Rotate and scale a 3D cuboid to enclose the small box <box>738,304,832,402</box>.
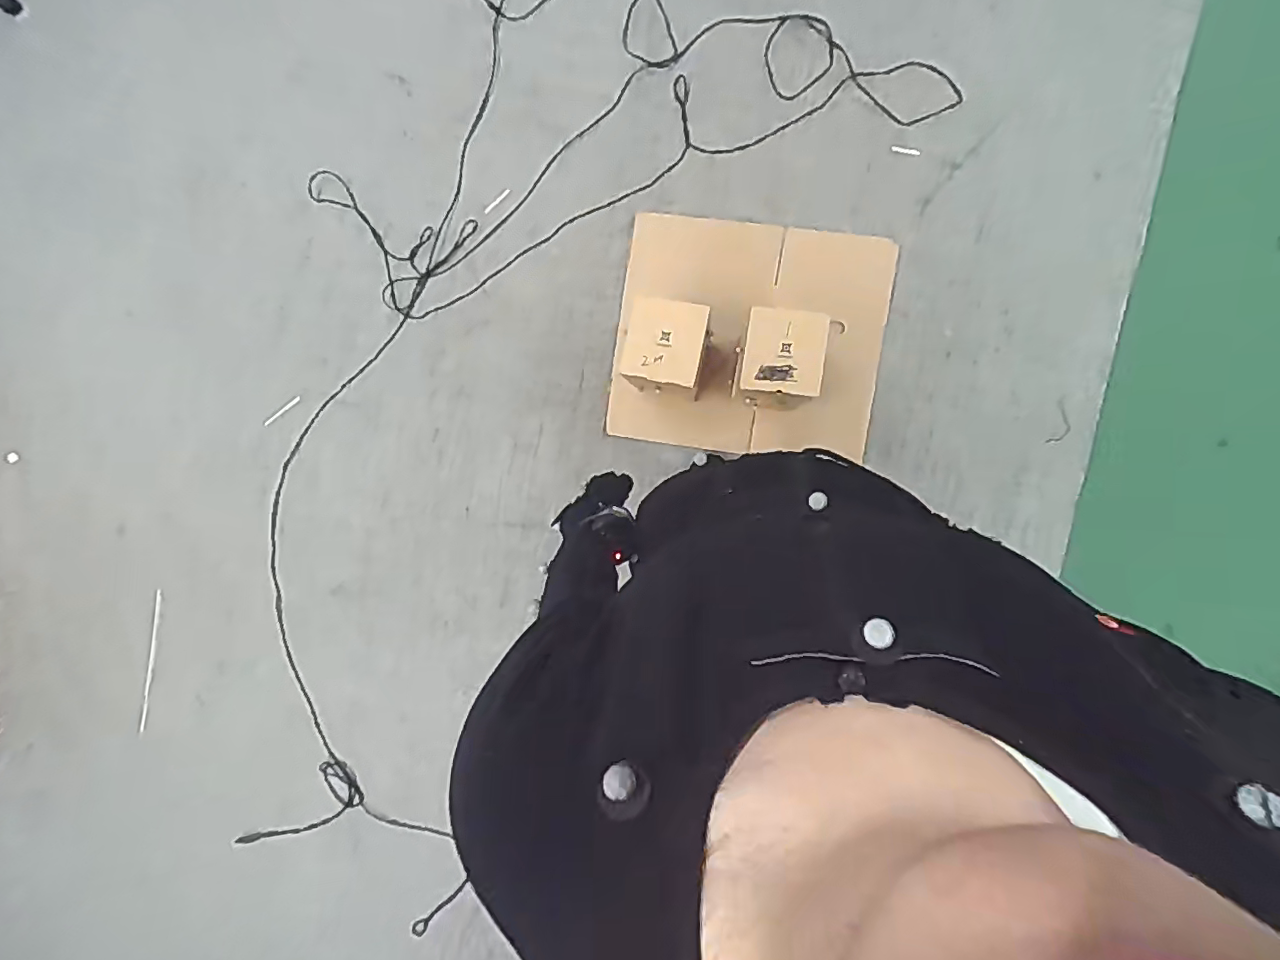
[{"bbox_3d":[0.311,-0.272,1.196,0.168,0.176,0.179,8,93,6],"label":"small box"}]

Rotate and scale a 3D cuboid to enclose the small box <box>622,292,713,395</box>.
[{"bbox_3d":[0.065,-0.301,1.220,0.168,0.176,0.179,12,94,7],"label":"small box"}]

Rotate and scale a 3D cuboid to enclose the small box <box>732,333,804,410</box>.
[{"bbox_3d":[0.327,-0.278,1.360,0.168,0.176,0.179,8,94,6],"label":"small box"}]
